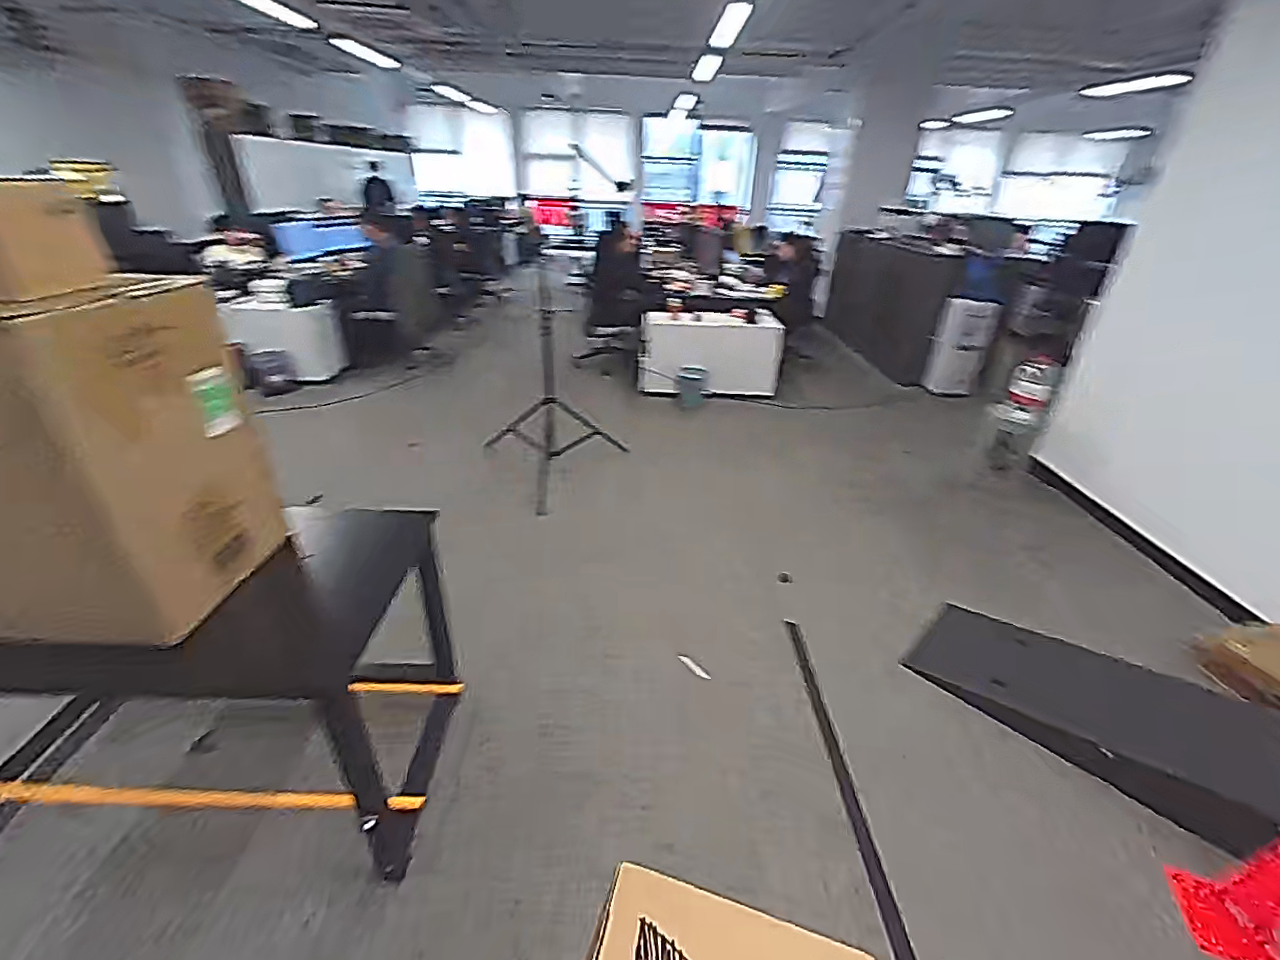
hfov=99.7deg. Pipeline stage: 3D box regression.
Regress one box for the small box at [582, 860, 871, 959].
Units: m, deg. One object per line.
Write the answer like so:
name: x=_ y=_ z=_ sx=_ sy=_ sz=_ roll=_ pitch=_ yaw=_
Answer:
small box: x=0.031 y=0.383 z=0.329 sx=0.179 sy=0.176 sz=0.168 roll=16 pitch=34 yaw=6

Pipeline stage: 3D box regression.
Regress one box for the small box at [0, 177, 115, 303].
small box: x=-1.013 y=-0.391 z=0.871 sx=0.168 sy=0.176 sz=0.179 roll=1 pitch=29 yaw=0
